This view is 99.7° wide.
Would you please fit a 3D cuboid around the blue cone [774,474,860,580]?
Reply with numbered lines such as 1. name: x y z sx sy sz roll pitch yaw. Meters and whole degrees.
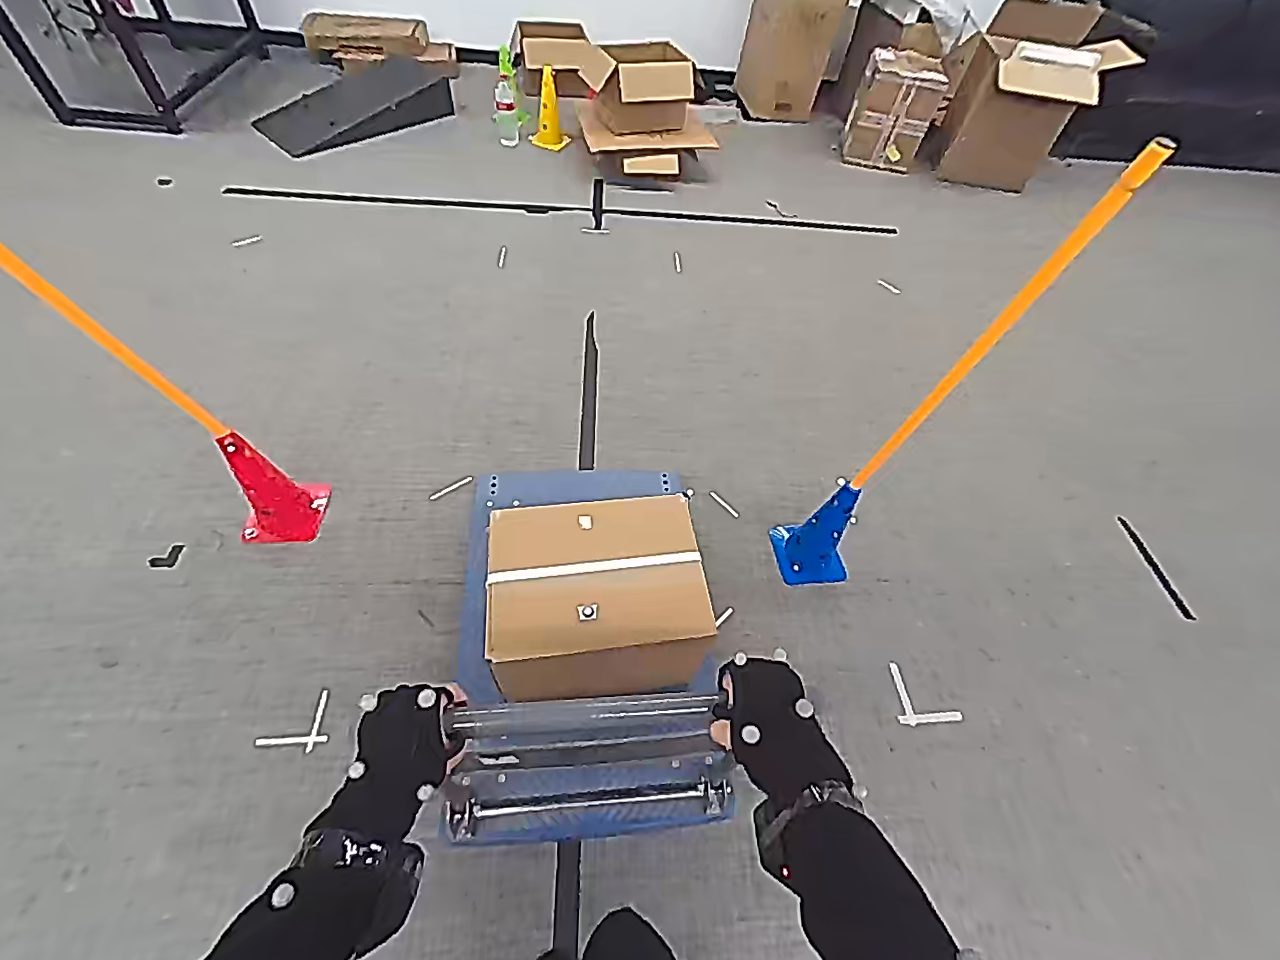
1. blue cone: 0.532 0.119 1.521 0.193 0.380 0.192 -2 53 -8
